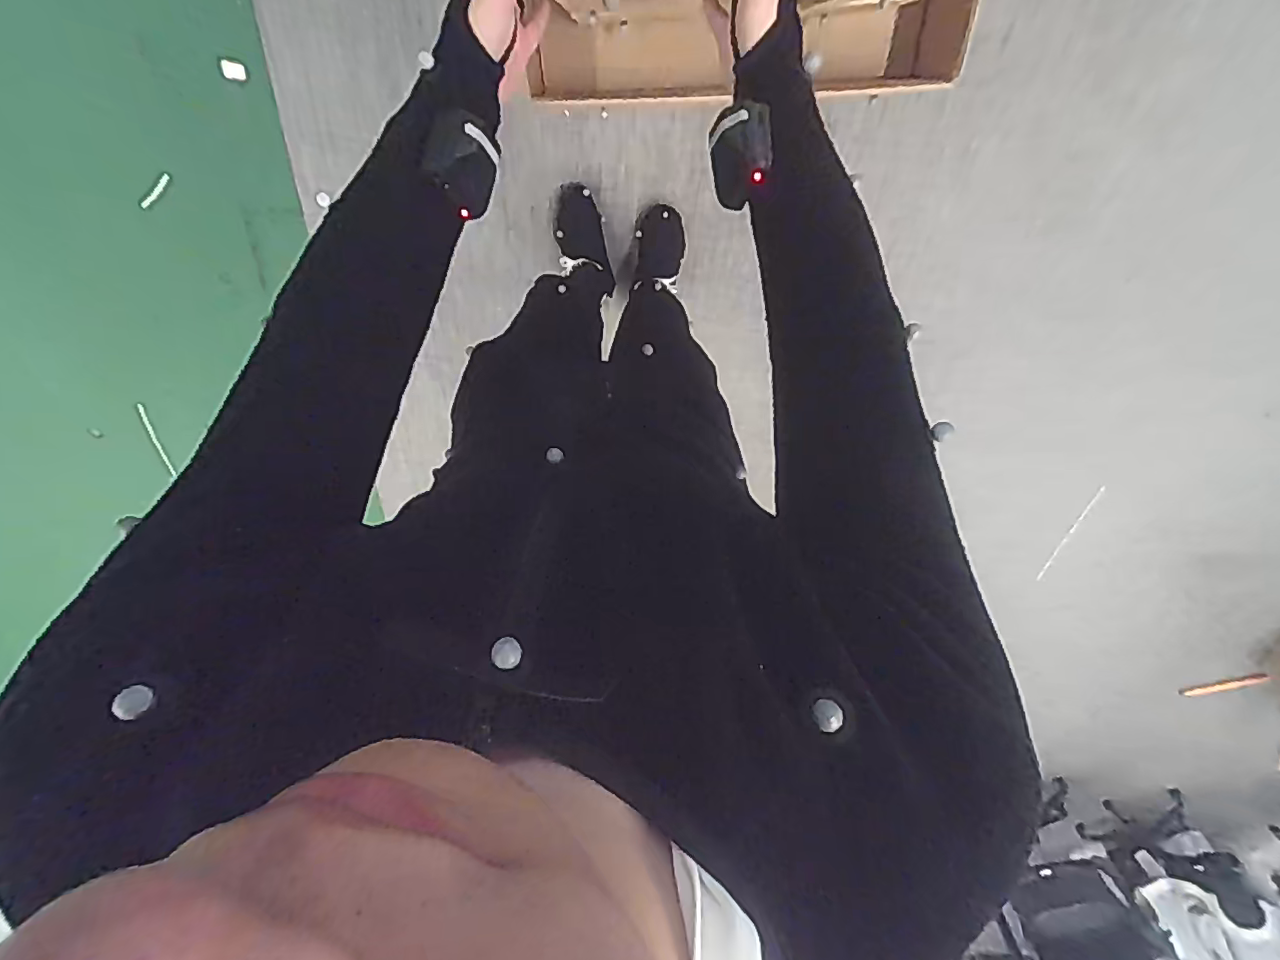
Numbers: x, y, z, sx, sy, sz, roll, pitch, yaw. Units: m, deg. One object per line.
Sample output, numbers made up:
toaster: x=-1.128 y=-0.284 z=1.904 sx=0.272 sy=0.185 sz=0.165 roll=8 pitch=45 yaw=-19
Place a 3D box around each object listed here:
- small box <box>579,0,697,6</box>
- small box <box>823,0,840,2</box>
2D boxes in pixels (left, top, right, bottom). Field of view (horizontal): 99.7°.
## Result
small box: x=-0.006 y=-0.608 z=0.553 sx=0.168 sy=0.176 sz=0.179 roll=0 pitch=125 yaw=0
small box: x=0.274 y=-0.615 z=0.550 sx=0.168 sy=0.176 sz=0.179 roll=-8 pitch=127 yaw=4
